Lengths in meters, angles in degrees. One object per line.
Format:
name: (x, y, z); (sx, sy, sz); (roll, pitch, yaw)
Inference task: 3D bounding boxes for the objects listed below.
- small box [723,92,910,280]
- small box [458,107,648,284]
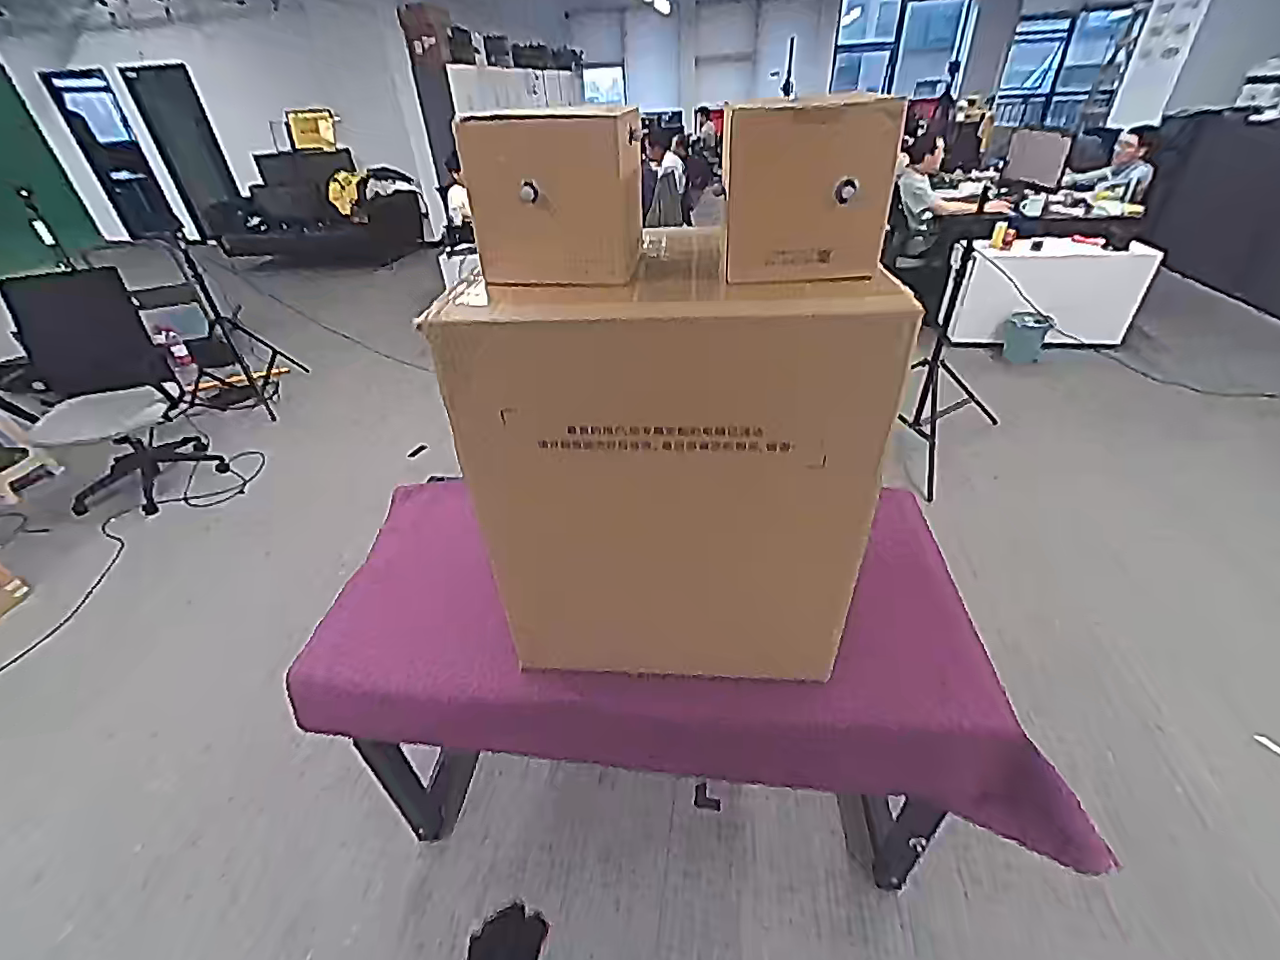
small box: (0.184, -0.335, 0.623); (0.168, 0.176, 0.179); (0, 35, 5)
small box: (-0.088, -0.342, 0.652); (0.179, 0.176, 0.168); (3, 37, 7)
